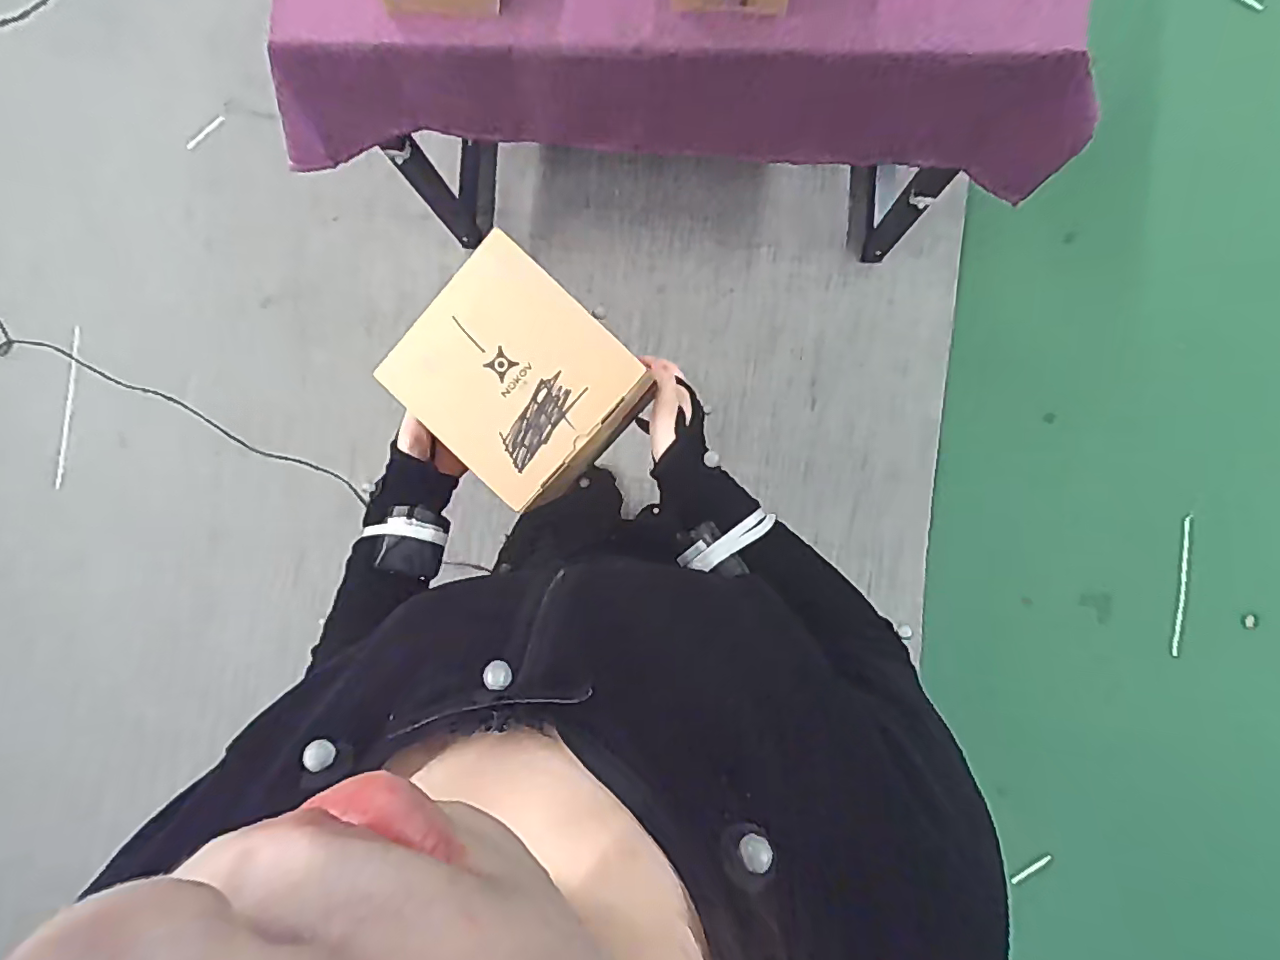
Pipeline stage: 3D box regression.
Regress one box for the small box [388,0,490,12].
[{"bbox_3d":[-0.292,-0.788,0.734,0.179,0.176,0.168,6,88,4],"label":"small box"}]
